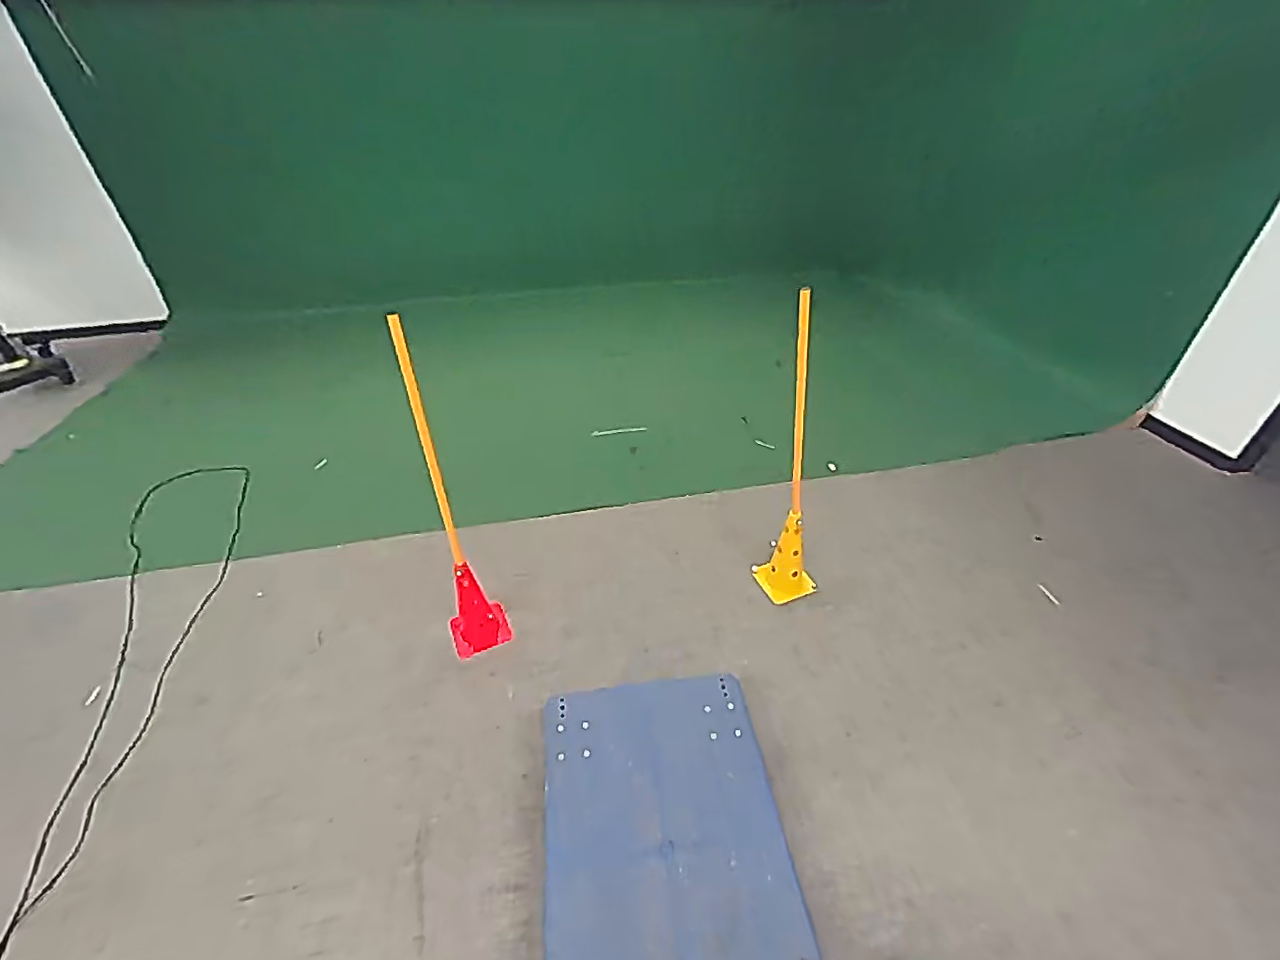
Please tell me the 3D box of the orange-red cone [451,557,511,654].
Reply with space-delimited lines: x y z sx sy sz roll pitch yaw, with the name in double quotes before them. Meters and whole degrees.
"orange-red cone" -0.597 0.408 1.897 0.199 0.360 0.198 -18 40 -18
